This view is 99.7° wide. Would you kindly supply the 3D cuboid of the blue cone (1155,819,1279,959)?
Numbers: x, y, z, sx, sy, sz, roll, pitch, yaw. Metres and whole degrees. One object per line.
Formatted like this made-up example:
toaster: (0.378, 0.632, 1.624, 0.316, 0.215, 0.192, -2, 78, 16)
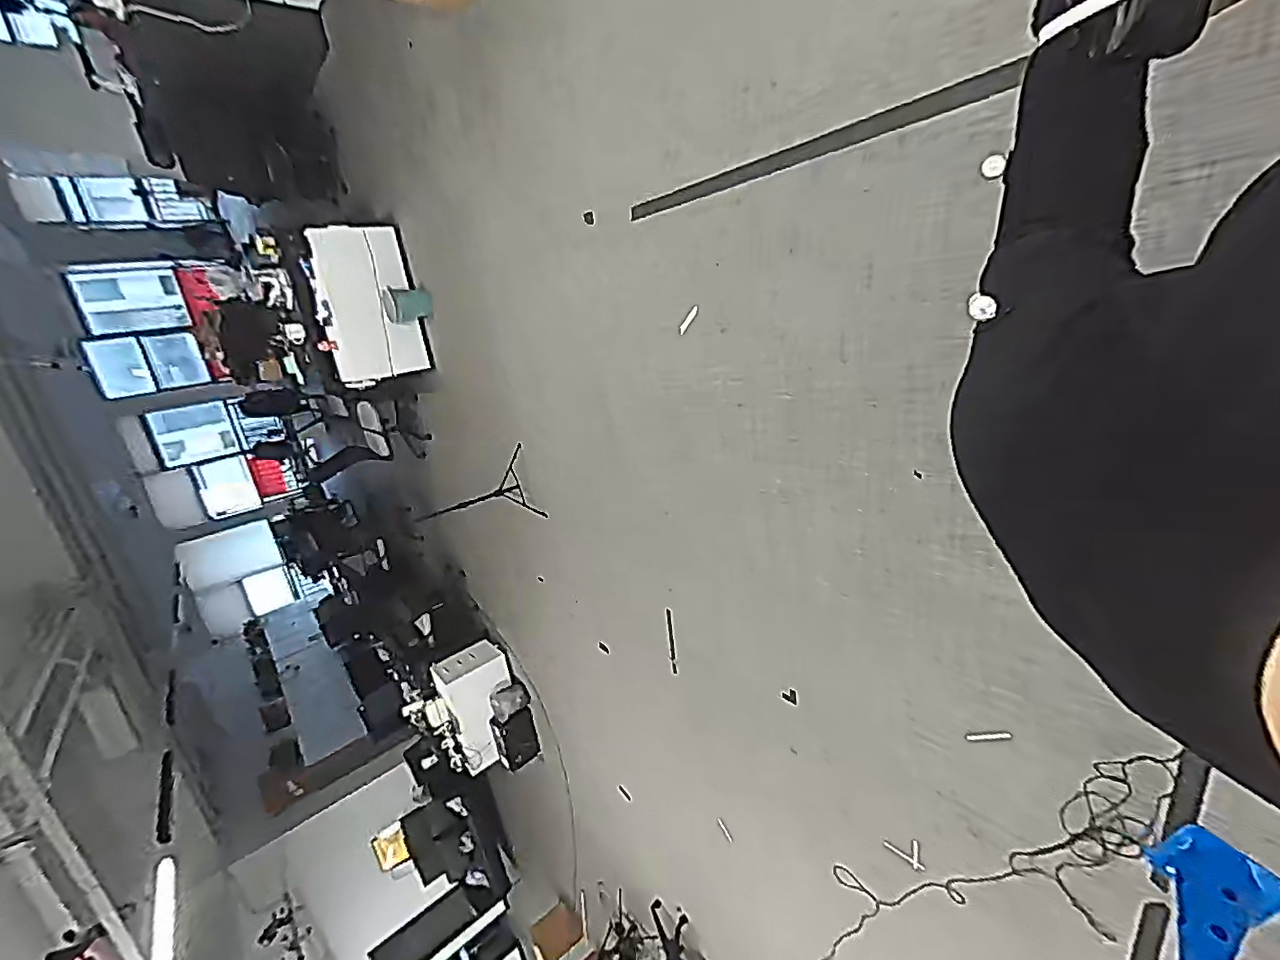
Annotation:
blue cone: (1.249, 0.965, 1.182, 0.193, 0.380, 0.192, 37, 134, 36)
